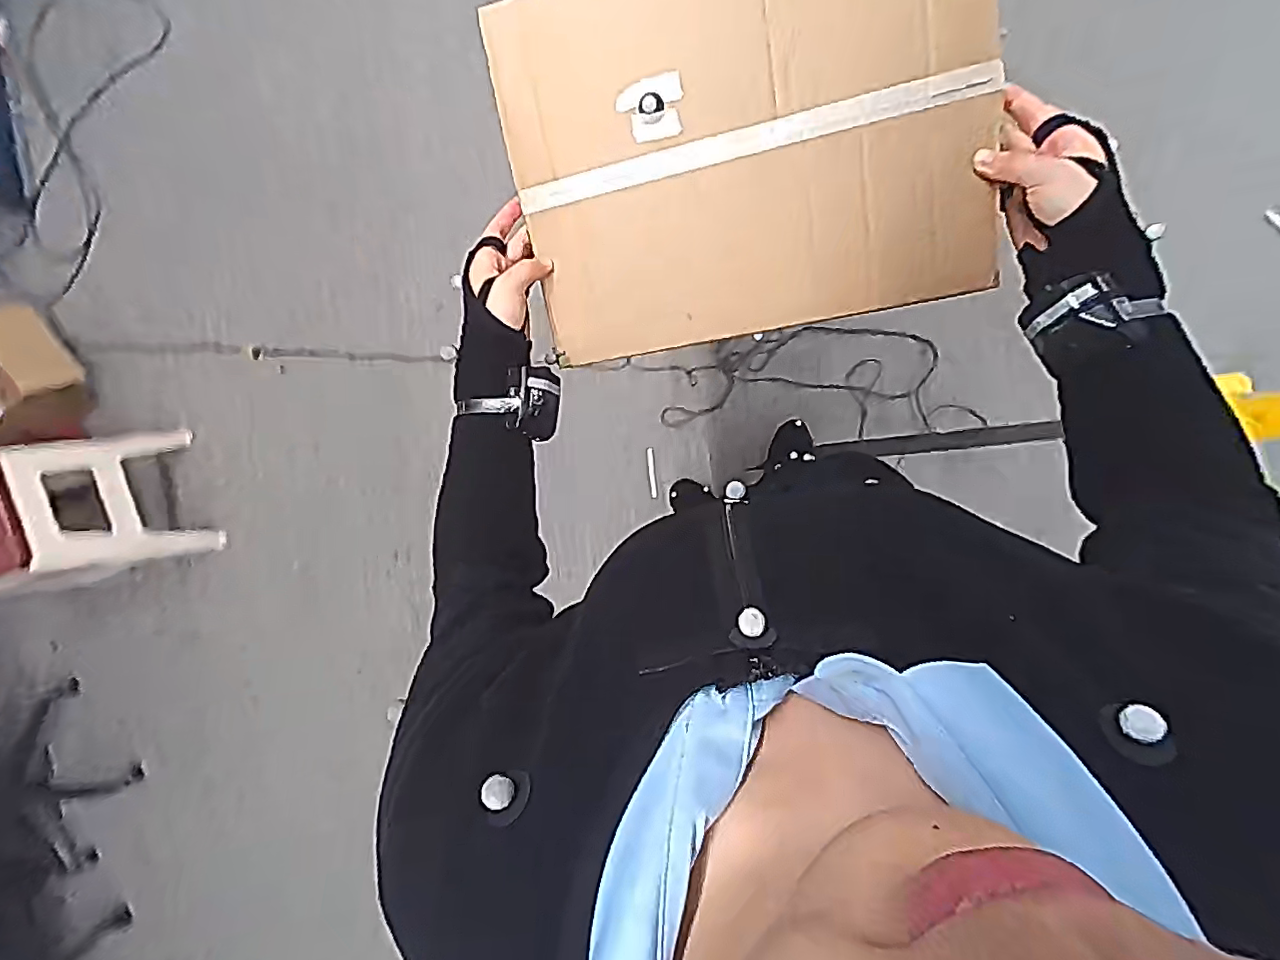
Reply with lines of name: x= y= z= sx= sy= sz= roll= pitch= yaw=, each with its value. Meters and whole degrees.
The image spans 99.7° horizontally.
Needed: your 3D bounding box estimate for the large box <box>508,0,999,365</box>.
large box: x=0.126 y=-0.336 z=0.620 sx=0.408 sy=0.320 sz=0.320 roll=-7 pitch=105 yaw=13
